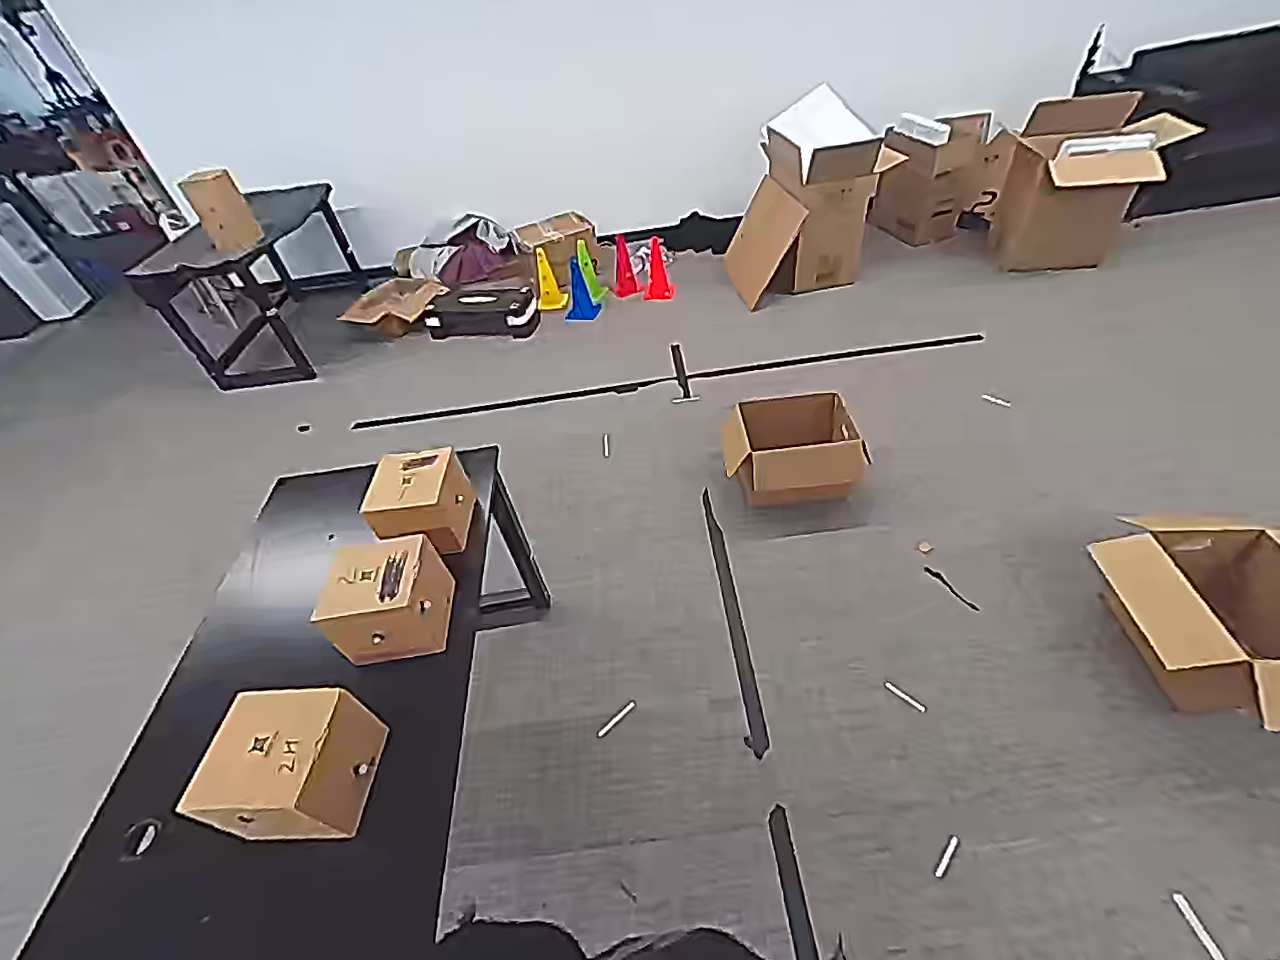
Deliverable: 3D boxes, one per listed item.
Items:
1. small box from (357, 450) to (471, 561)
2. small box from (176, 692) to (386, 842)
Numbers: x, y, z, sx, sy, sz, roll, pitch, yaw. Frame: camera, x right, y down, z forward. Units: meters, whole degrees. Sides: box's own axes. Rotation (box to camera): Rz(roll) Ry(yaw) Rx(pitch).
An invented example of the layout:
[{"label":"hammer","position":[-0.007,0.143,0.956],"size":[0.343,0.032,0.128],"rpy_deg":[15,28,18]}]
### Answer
[{"label":"small box","position":[-0.494,0.058,1.213],"size":[0.168,0.176,0.179],"rpy_deg":[-8,46,2]},{"label":"small box","position":[-0.533,0.445,0.834],"size":[0.179,0.176,0.168],"rpy_deg":[-5,45,5]}]
